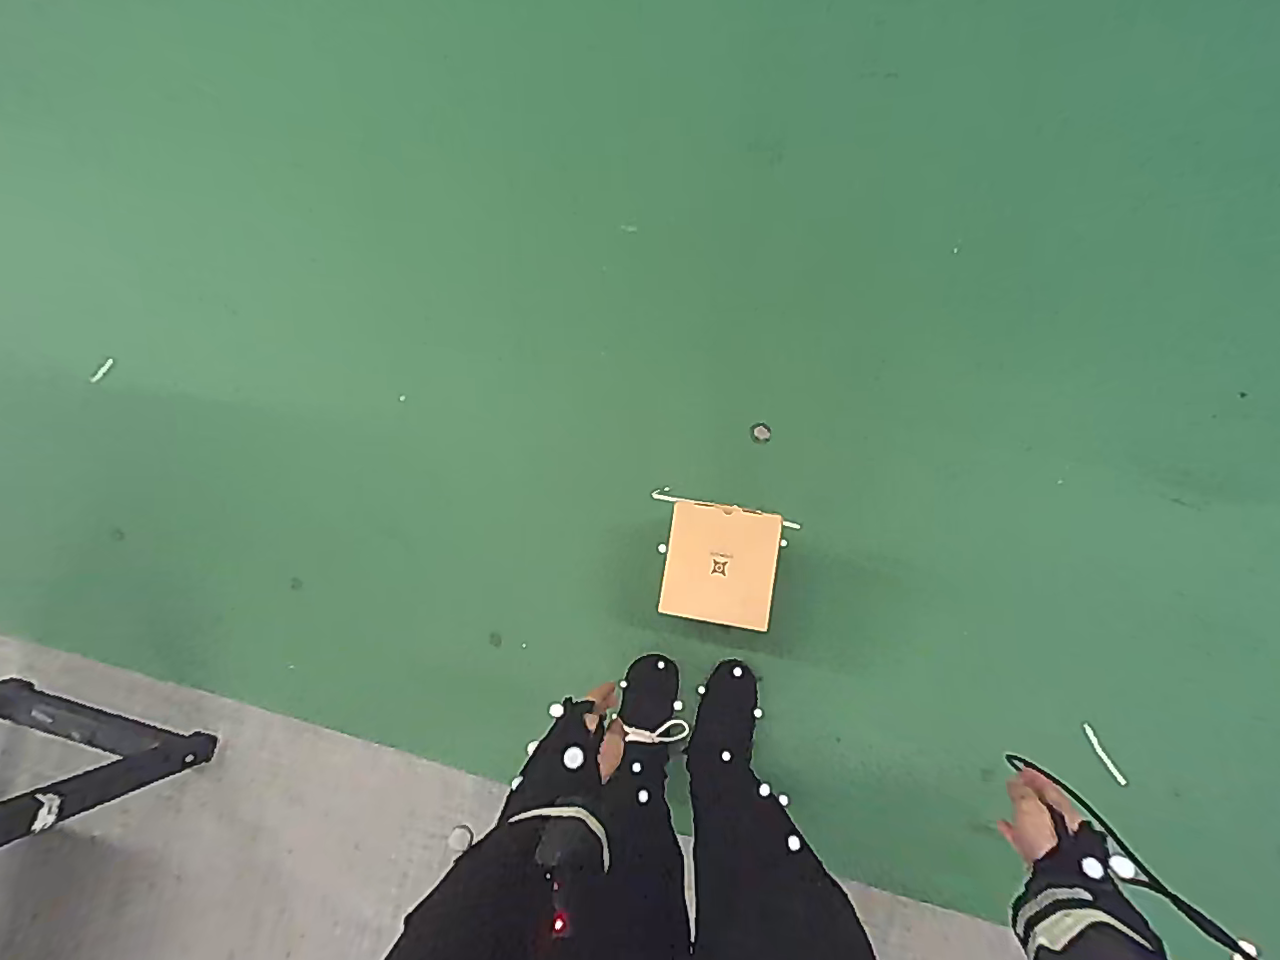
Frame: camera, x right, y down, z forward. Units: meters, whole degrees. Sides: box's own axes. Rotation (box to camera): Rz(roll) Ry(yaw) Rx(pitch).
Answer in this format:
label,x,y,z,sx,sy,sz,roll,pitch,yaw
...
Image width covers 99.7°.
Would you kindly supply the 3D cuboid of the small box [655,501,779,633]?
label,x,y,z,sx,sy,sz,roll,pitch,yaw
small box,0.126,0.139,0.892,0.168,0.176,0.179,9,83,8
